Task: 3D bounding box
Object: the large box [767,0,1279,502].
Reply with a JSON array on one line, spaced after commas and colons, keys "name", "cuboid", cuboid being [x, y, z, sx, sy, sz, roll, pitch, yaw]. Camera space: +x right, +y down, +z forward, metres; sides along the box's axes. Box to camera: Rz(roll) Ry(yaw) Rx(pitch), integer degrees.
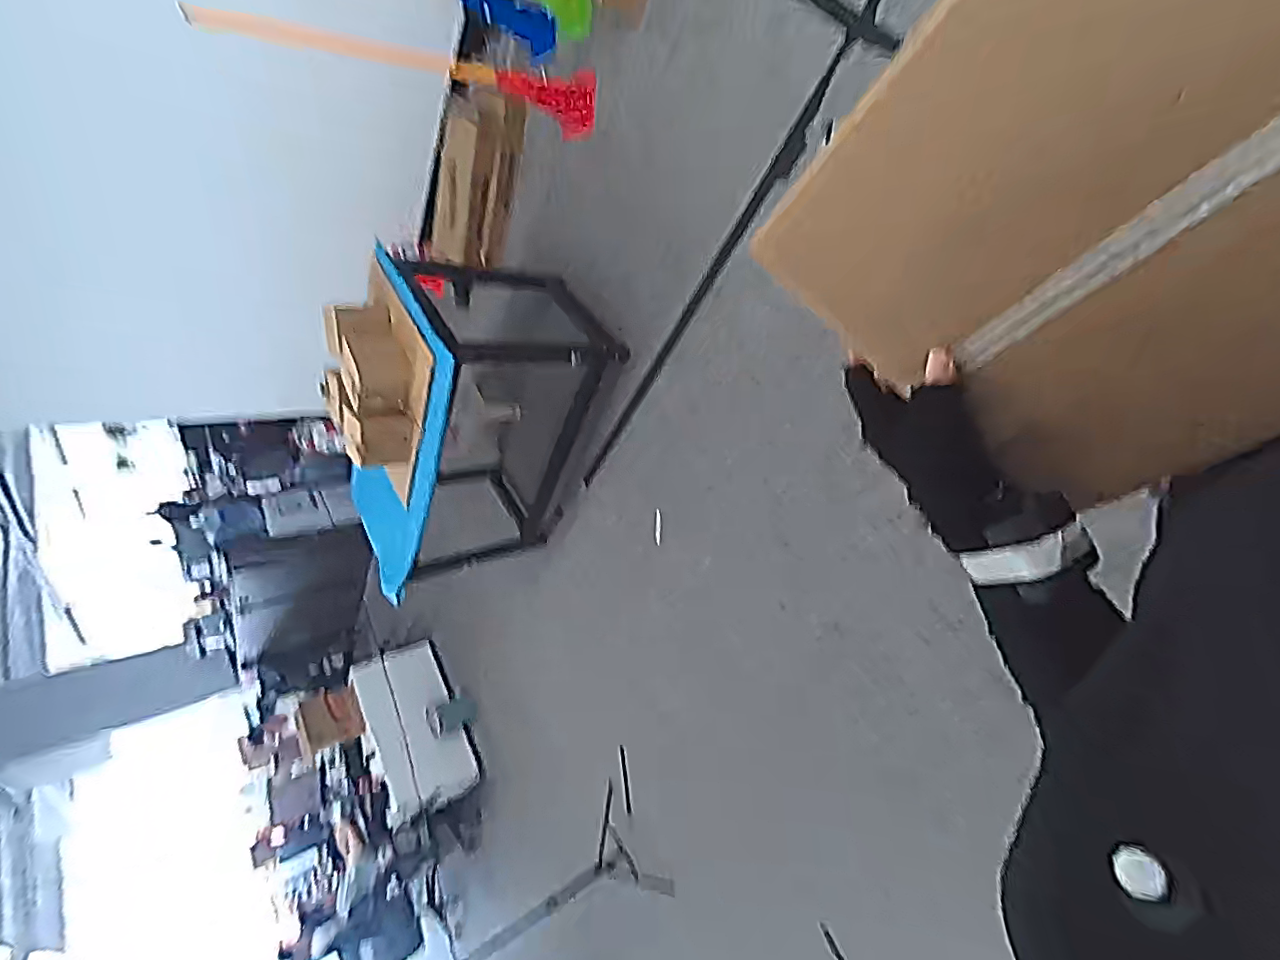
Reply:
[{"name": "large box", "cuboid": [0.357, -0.260, 0.359, 0.320, 0.320, 0.408, 38, 138, -8]}]
